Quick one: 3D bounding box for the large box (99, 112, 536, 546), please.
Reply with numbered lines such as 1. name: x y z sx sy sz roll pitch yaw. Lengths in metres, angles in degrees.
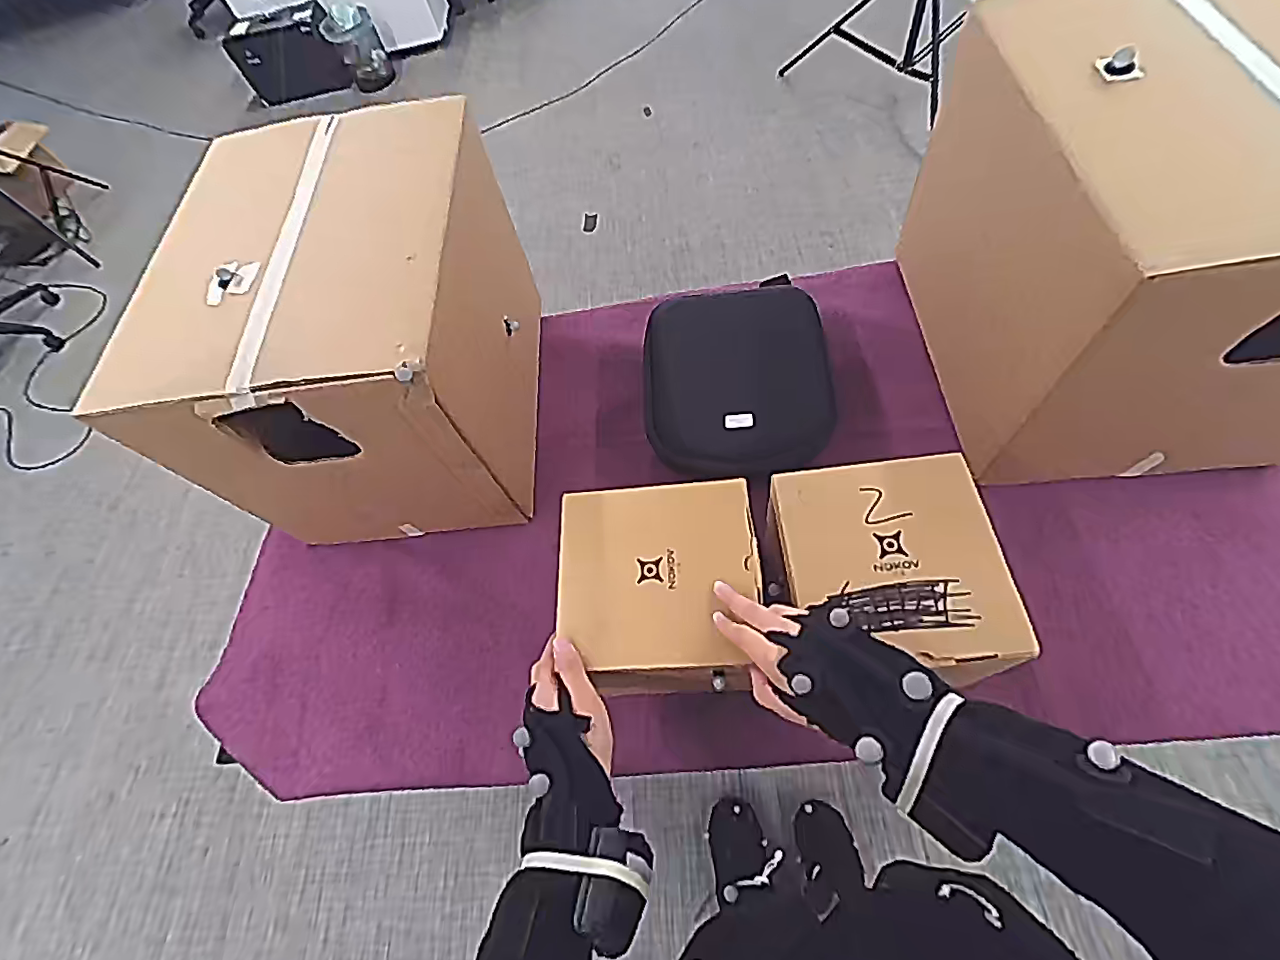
1. large box: -0.320 -0.168 0.678 0.320 0.320 0.408 -7 63 5
